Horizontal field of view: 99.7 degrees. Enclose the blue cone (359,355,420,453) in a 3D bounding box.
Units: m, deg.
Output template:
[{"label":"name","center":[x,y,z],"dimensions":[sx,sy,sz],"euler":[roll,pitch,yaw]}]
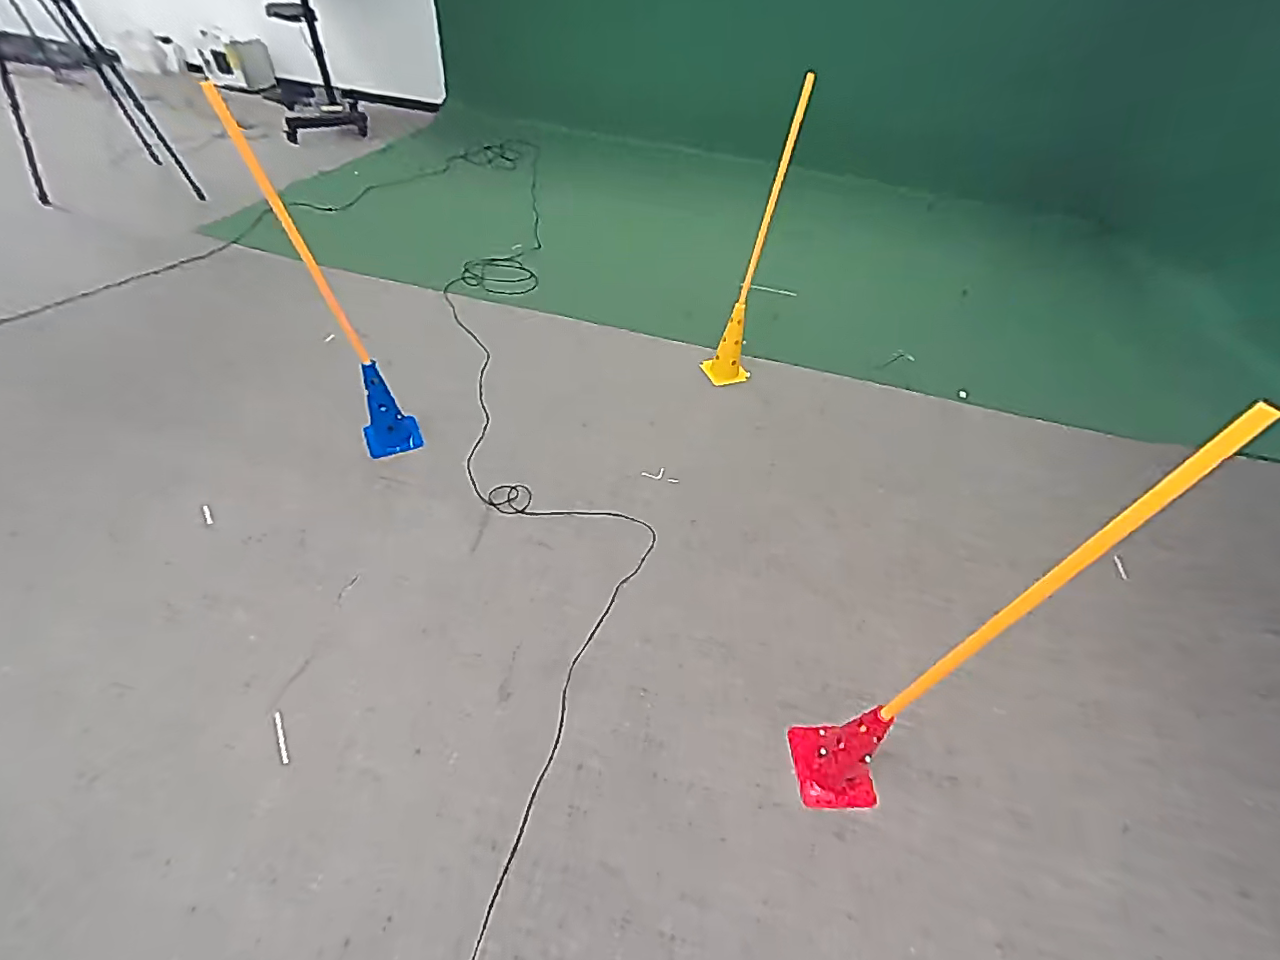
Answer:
[{"label":"blue cone","center":[-0.963,-0.292,2.002],"dimensions":[0.193,0.380,0.192],"euler":[-21,53,-22]}]
